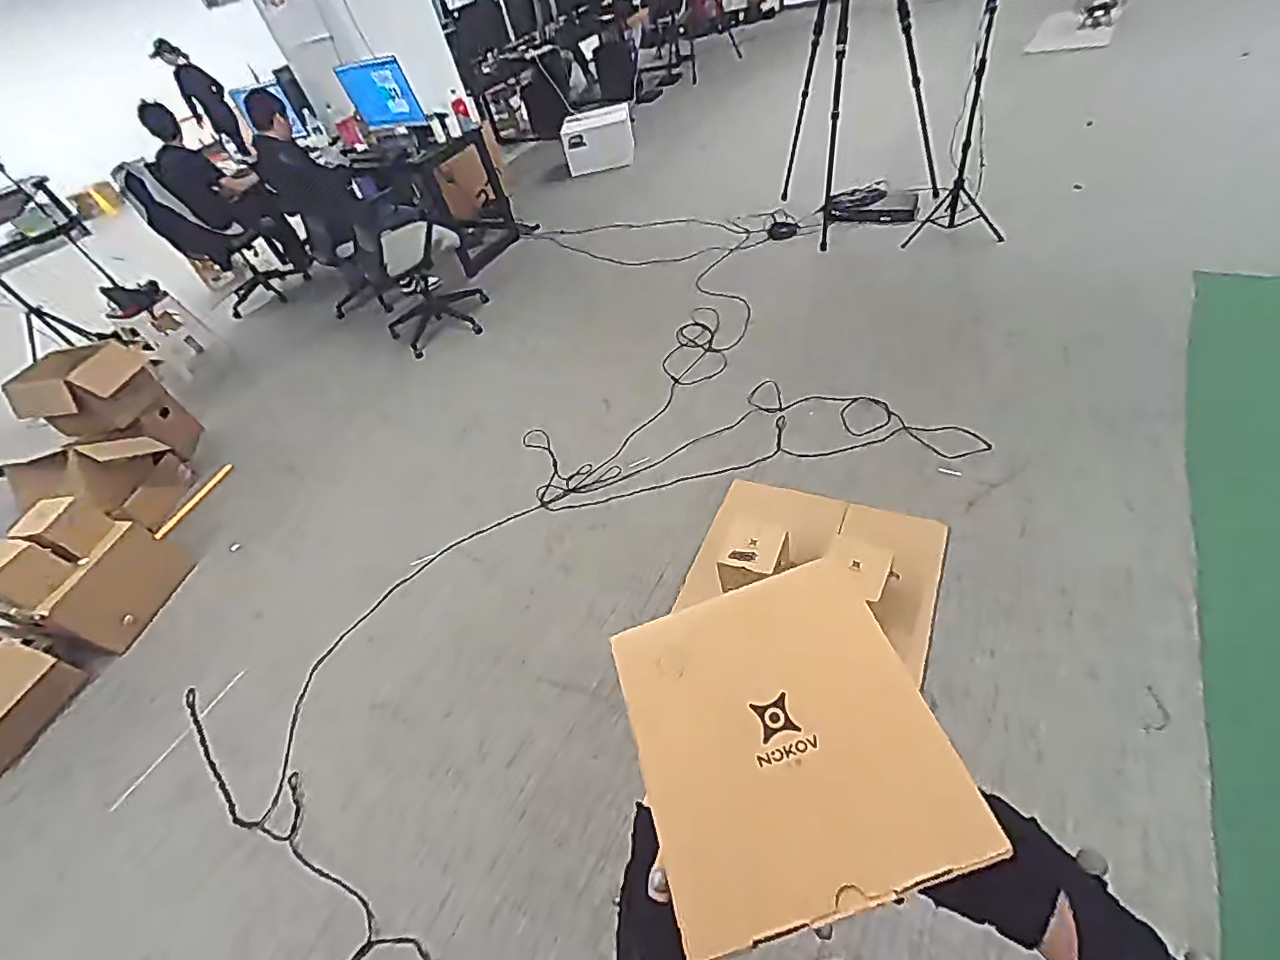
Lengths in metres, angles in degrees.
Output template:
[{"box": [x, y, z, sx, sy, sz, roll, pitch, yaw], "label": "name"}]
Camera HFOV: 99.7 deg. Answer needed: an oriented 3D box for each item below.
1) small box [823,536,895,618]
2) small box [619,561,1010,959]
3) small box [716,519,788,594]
[{"box": [0.594, 0.293, 1.507, 0.168, 0.176, 0.179, 16, 55, 30], "label": "small box"}, {"box": [0.098, 0.190, 0.377, 0.168, 0.176, 0.179, -20, 52, 0], "label": "small box"}, {"box": [0.343, 0.247, 1.622, 0.168, 0.176, 0.179, 11, 52, 26], "label": "small box"}]
